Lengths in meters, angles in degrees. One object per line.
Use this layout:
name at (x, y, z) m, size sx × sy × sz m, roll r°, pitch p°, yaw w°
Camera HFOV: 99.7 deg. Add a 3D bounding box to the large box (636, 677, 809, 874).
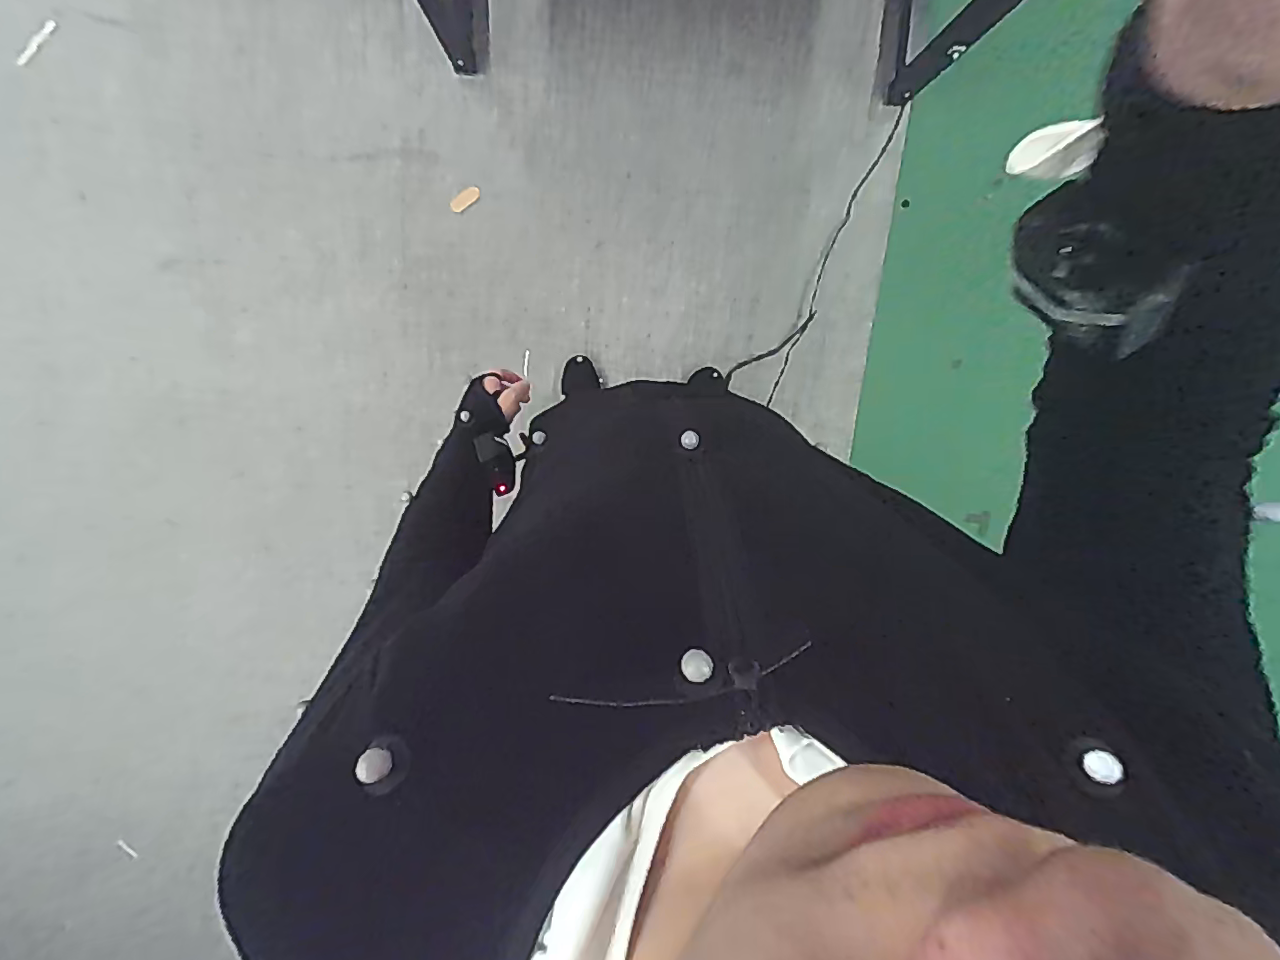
large box at (0.236, 0.899, 1.684) m, size 0.408 × 0.320 × 0.320 m, roll -29°, pitch 103°, yaw 2°
